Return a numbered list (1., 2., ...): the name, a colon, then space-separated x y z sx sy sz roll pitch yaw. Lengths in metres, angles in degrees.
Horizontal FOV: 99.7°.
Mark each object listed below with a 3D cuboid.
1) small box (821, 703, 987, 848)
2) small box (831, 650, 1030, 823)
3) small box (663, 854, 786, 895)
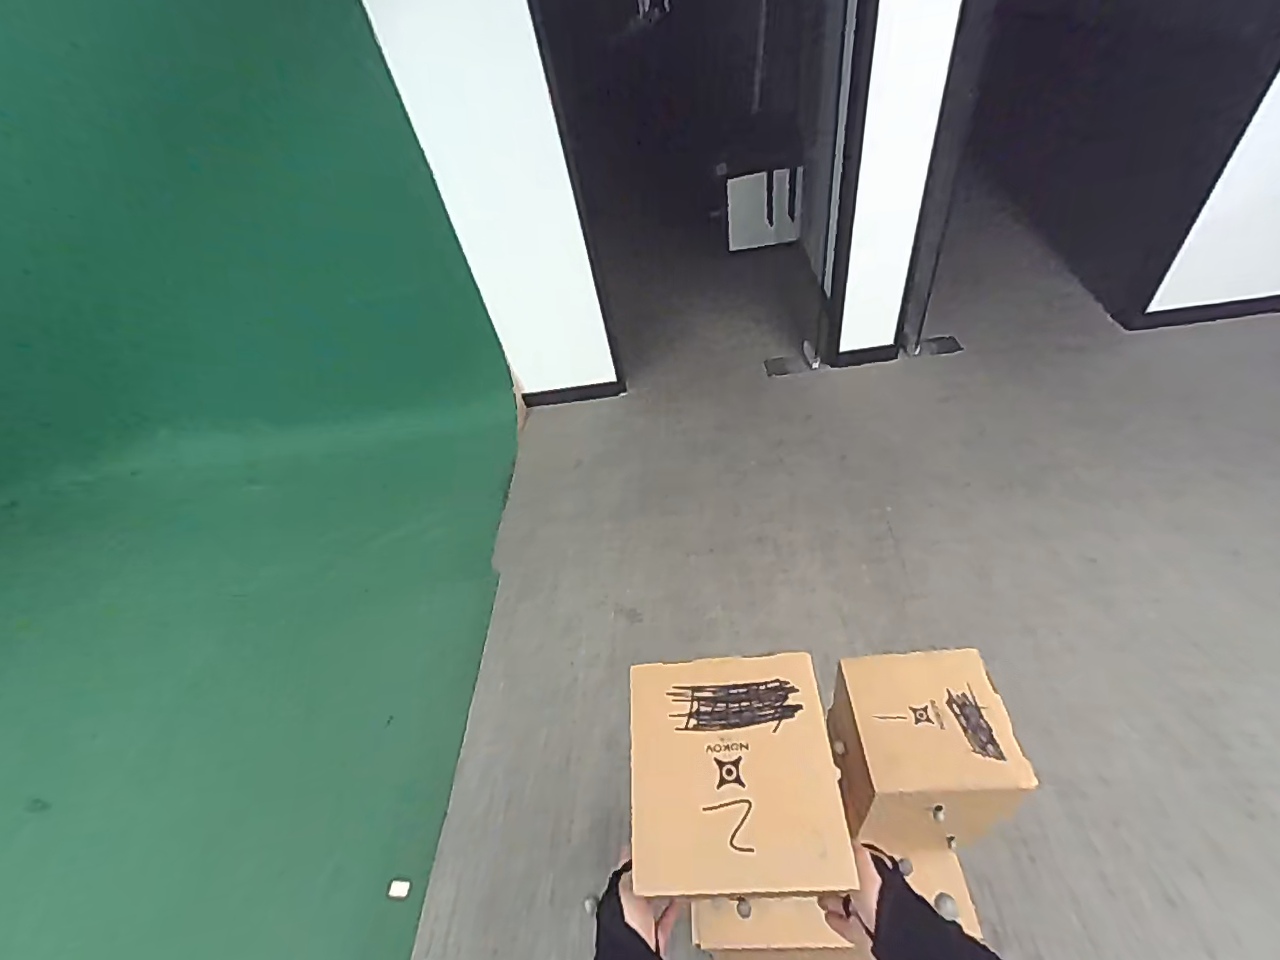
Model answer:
1. small box: 0.389 0.454 0.835 0.179 0.176 0.168 -7 45 8
2. small box: 0.363 0.342 0.718 0.179 0.176 0.168 -7 46 9
3. small box: 0.127 0.520 0.829 0.168 0.176 0.179 -4 47 7
